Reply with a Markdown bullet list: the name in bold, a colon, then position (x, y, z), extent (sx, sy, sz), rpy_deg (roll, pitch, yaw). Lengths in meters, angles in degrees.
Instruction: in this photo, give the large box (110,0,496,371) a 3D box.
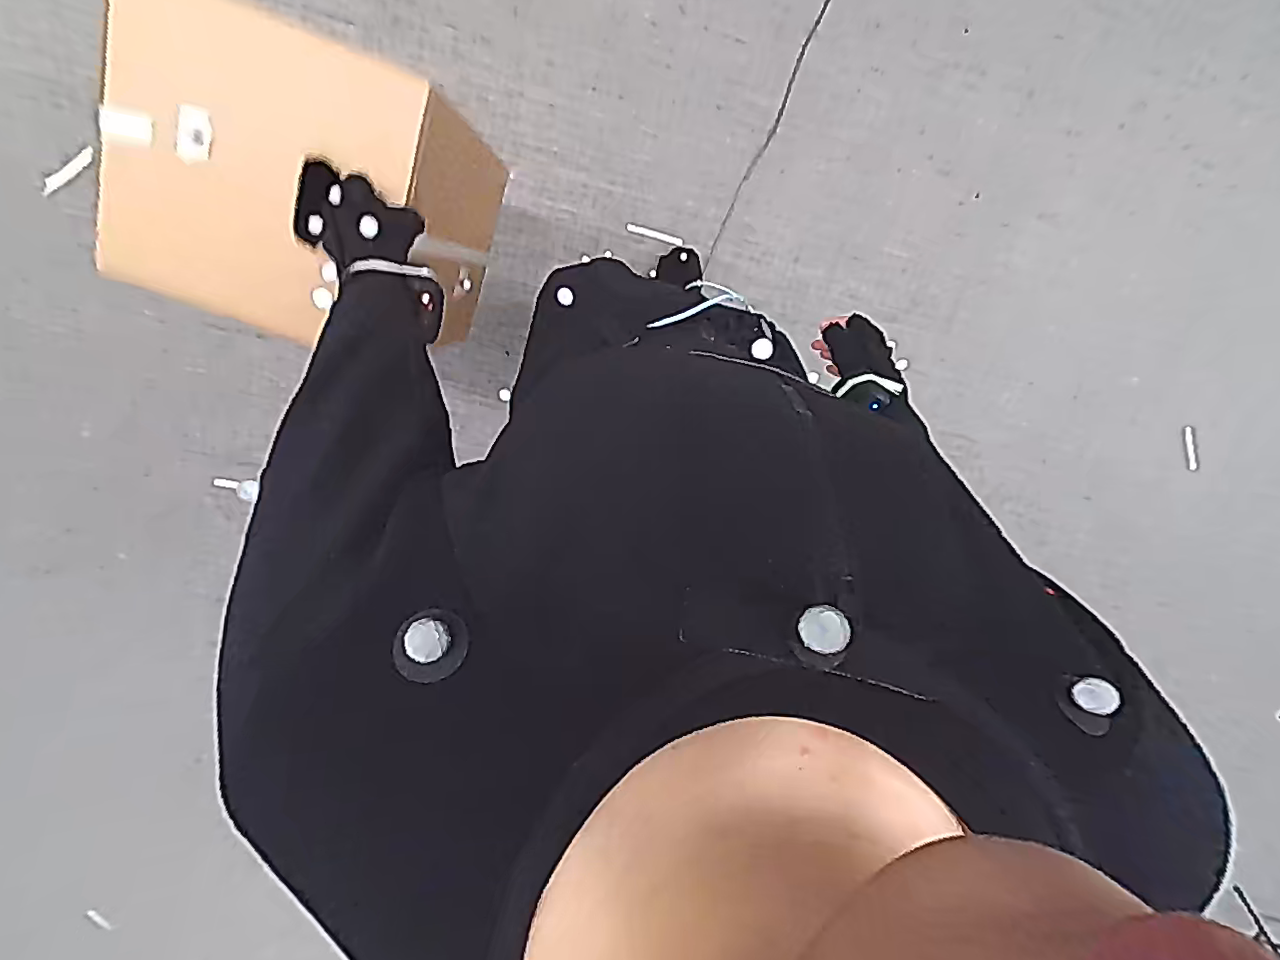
- **large box**: position (-0.433, -0.378, 0.785), extent (0.320, 0.408, 0.320), rpy_deg (17, 108, -8)
